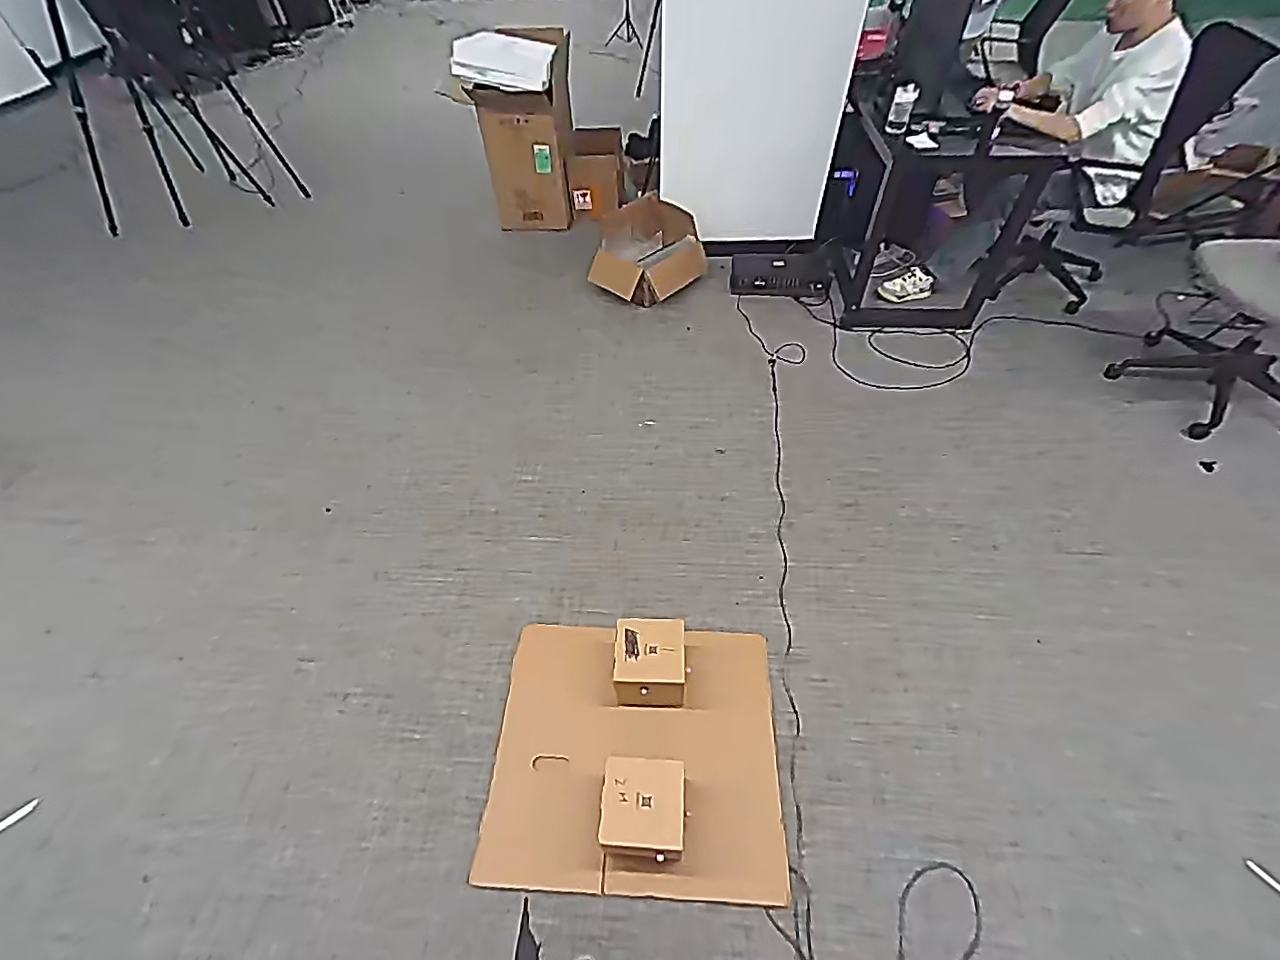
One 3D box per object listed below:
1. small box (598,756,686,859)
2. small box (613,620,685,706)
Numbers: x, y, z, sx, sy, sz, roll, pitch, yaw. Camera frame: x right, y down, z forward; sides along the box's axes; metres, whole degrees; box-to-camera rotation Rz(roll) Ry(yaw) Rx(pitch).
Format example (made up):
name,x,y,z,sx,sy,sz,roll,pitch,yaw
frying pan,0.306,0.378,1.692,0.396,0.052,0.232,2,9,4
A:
name,x,y,z,sx,sy,sz,roll,pitch,yaw
small box,0.011,0.731,1.203,0.179,0.176,0.168,1,50,6
small box,0.029,0.481,1.414,0.179,0.176,0.168,0,50,3
